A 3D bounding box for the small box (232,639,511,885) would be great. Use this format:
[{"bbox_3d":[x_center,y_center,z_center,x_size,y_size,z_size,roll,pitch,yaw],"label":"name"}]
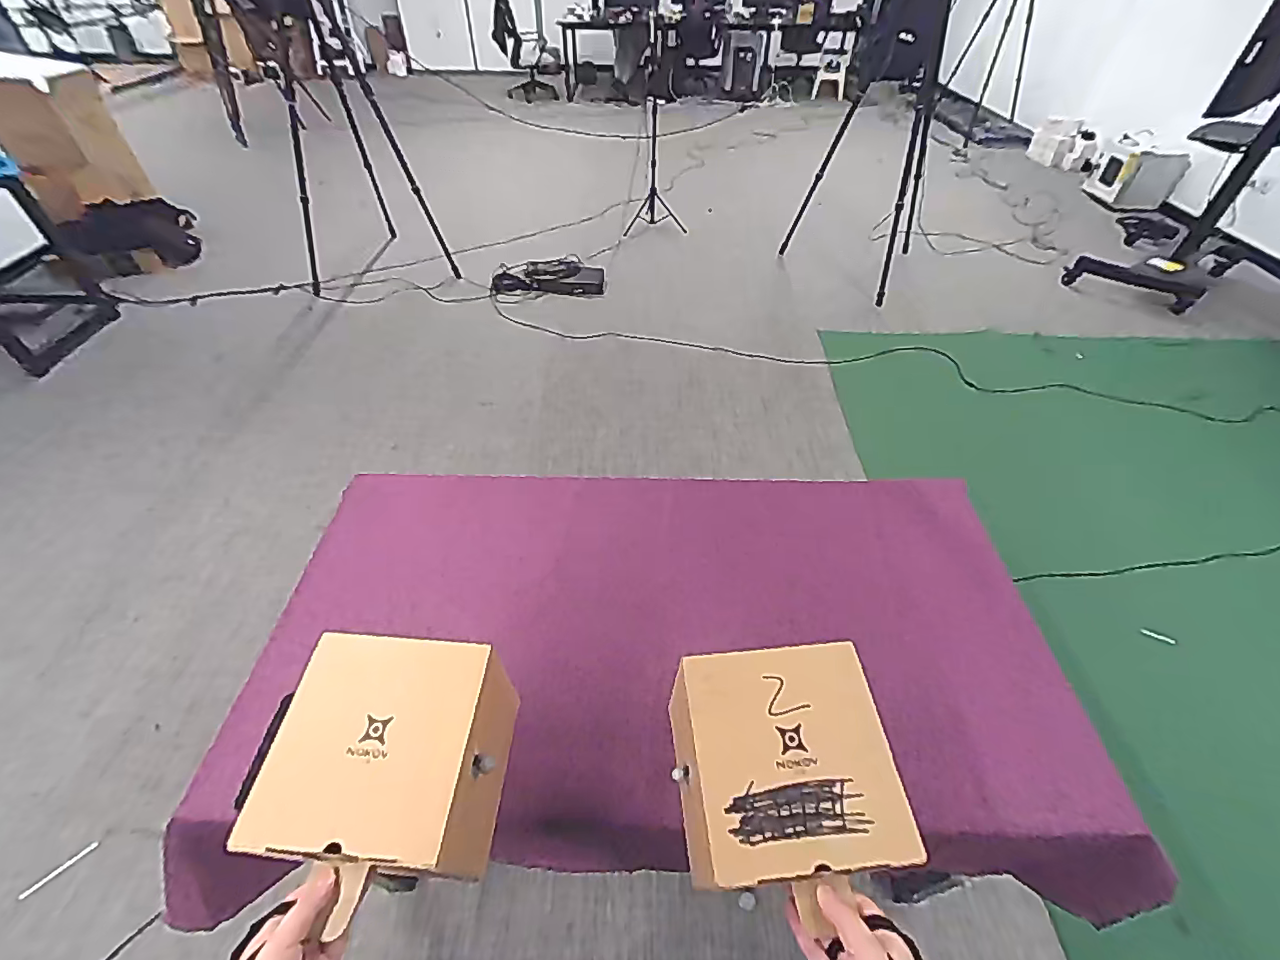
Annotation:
[{"bbox_3d":[-0.232,0.278,0.530,0.168,0.176,0.179,4,52,2],"label":"small box"}]
